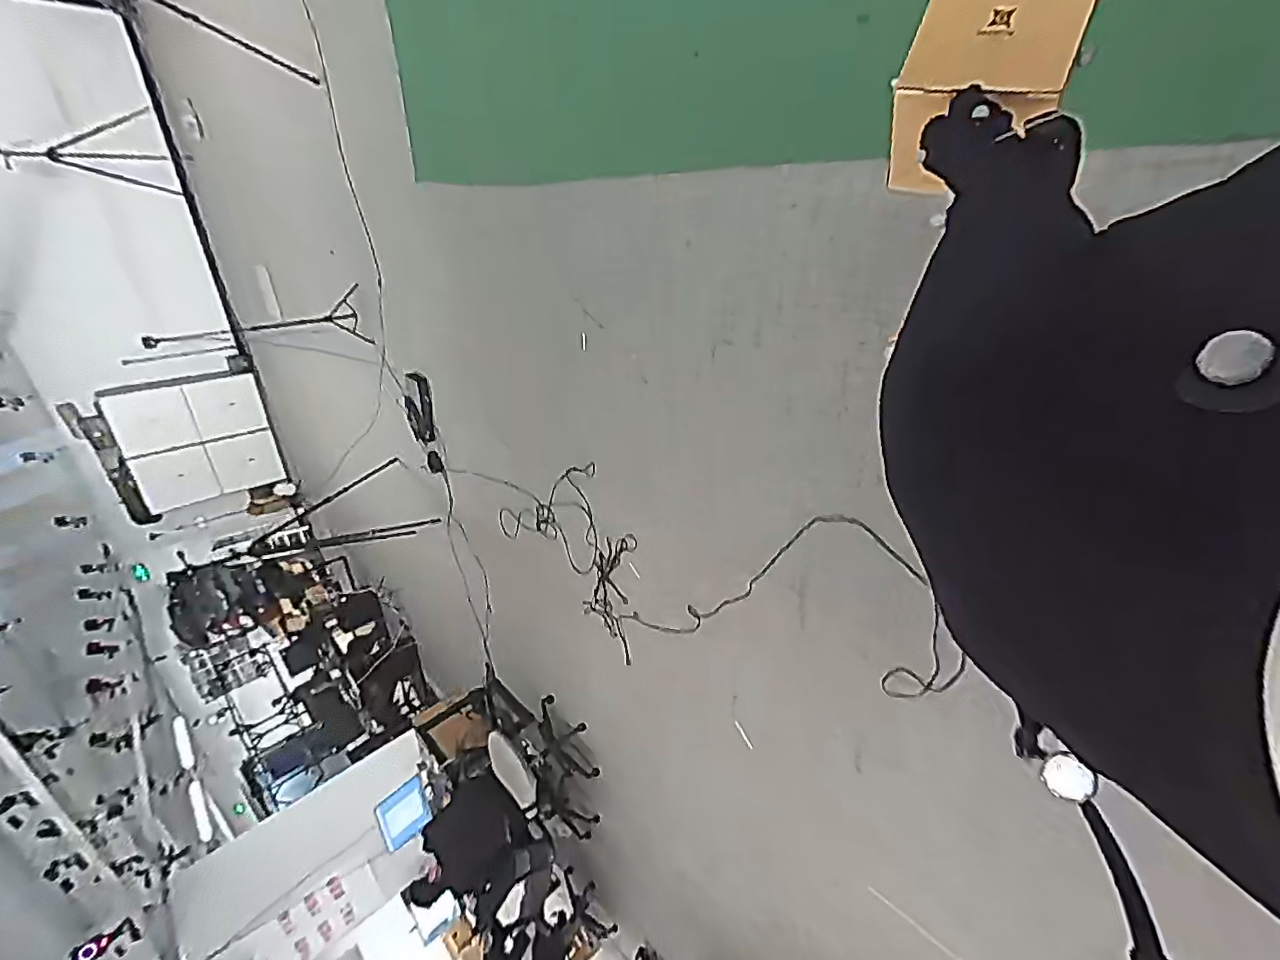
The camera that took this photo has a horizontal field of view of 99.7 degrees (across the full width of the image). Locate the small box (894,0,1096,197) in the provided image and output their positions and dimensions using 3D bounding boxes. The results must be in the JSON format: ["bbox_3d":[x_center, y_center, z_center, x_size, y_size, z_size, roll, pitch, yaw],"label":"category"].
[{"bbox_3d":[0.431,-0.494,0.676,0.168,0.176,0.179,20,87,24],"label":"small box"}]
